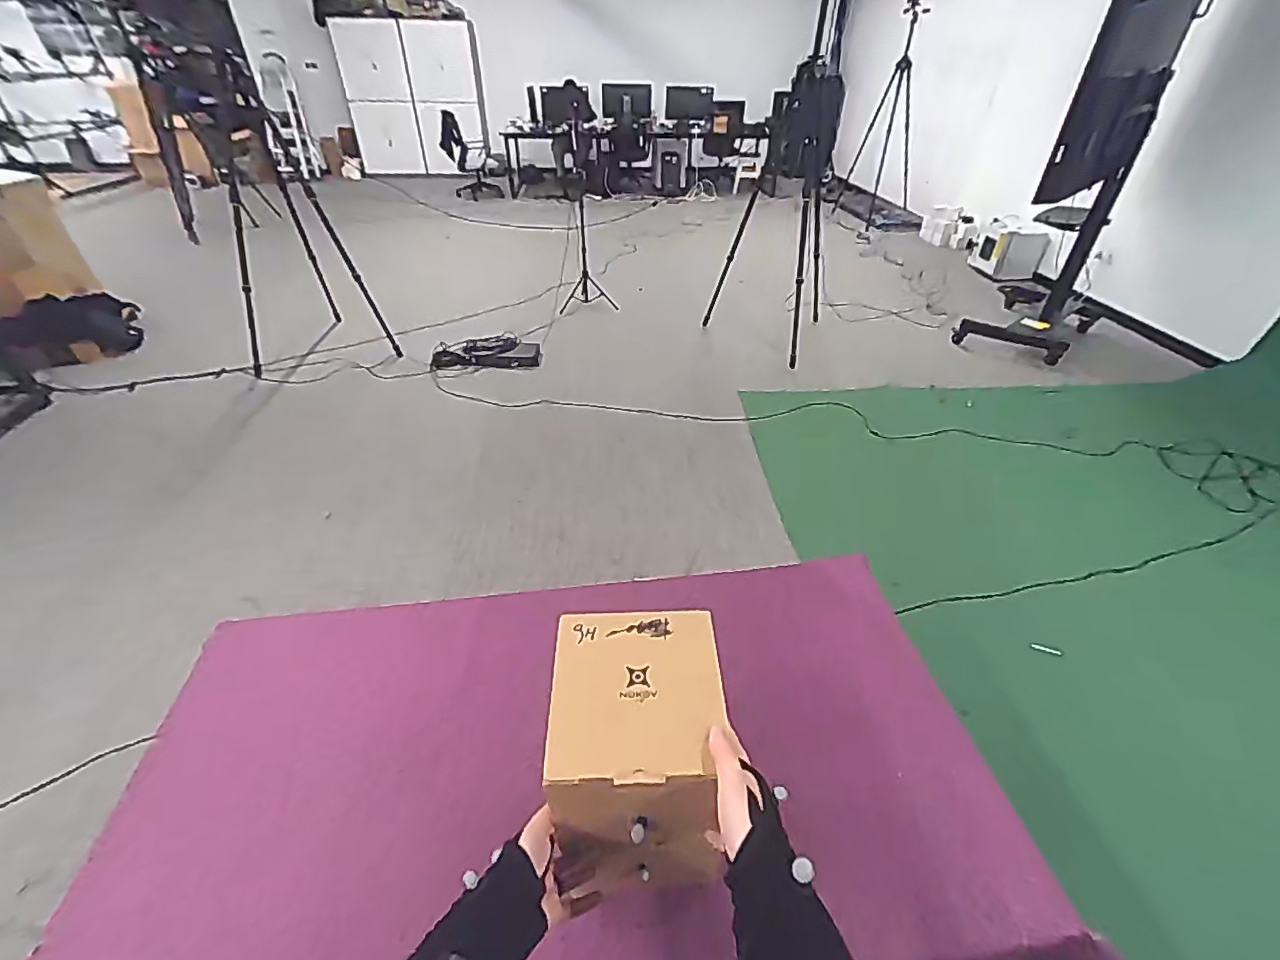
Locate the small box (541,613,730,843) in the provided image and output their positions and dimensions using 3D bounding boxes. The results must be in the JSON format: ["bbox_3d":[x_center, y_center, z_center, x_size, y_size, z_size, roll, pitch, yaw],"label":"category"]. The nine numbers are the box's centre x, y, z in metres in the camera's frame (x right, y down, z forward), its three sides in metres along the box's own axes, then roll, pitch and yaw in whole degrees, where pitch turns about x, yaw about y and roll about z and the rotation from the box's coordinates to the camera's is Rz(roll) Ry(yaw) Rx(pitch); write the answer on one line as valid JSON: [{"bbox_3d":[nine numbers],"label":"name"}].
[{"bbox_3d":[-0.004,0.264,0.572,0.168,0.176,0.179,-1,39,-1],"label":"small box"}]
